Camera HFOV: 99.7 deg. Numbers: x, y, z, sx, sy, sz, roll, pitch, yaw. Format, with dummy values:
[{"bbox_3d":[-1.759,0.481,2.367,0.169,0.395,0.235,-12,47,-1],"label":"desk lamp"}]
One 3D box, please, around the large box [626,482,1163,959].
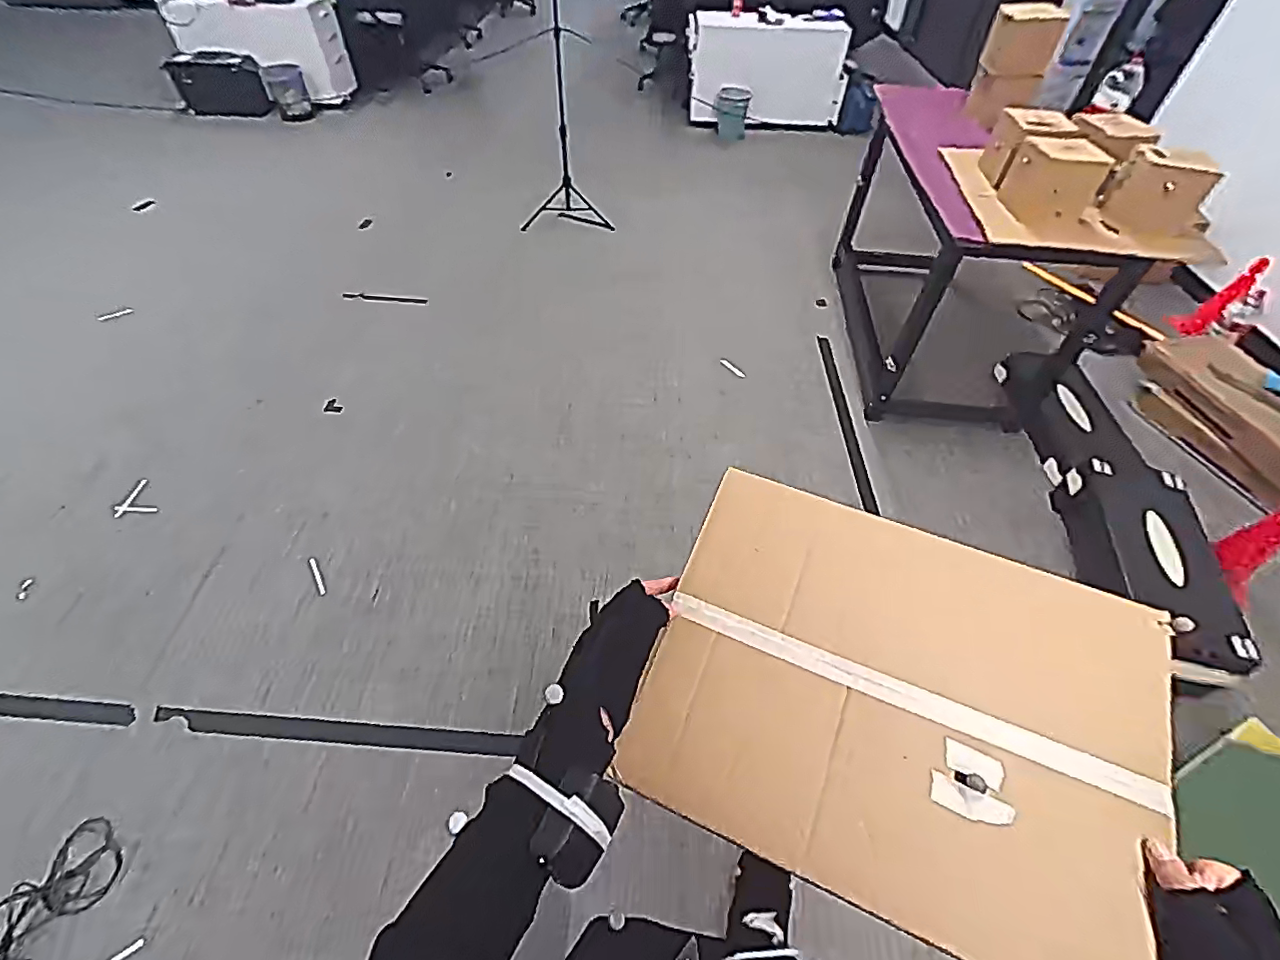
[{"bbox_3d":[0.233,0.255,0.602,0.408,0.320,0.320,20,66,14],"label":"large box"}]
